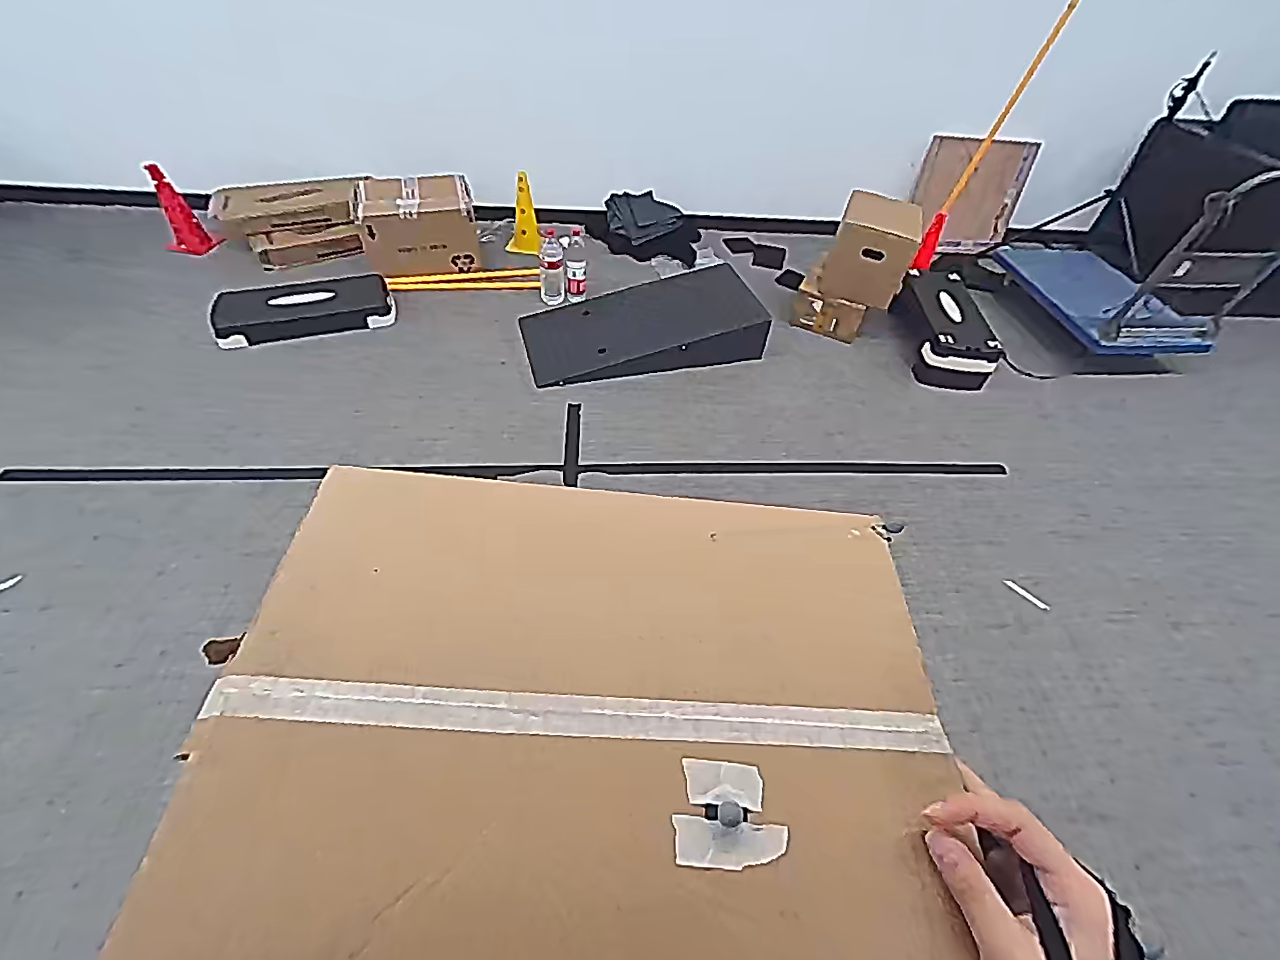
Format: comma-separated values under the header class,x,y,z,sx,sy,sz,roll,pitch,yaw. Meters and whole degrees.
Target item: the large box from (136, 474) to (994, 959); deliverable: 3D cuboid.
class,x,y,z,sx,sy,sz,roll,pitch,yaw
large box,-0.039,0.223,0.435,0.408,0.320,0.320,6,53,-6
